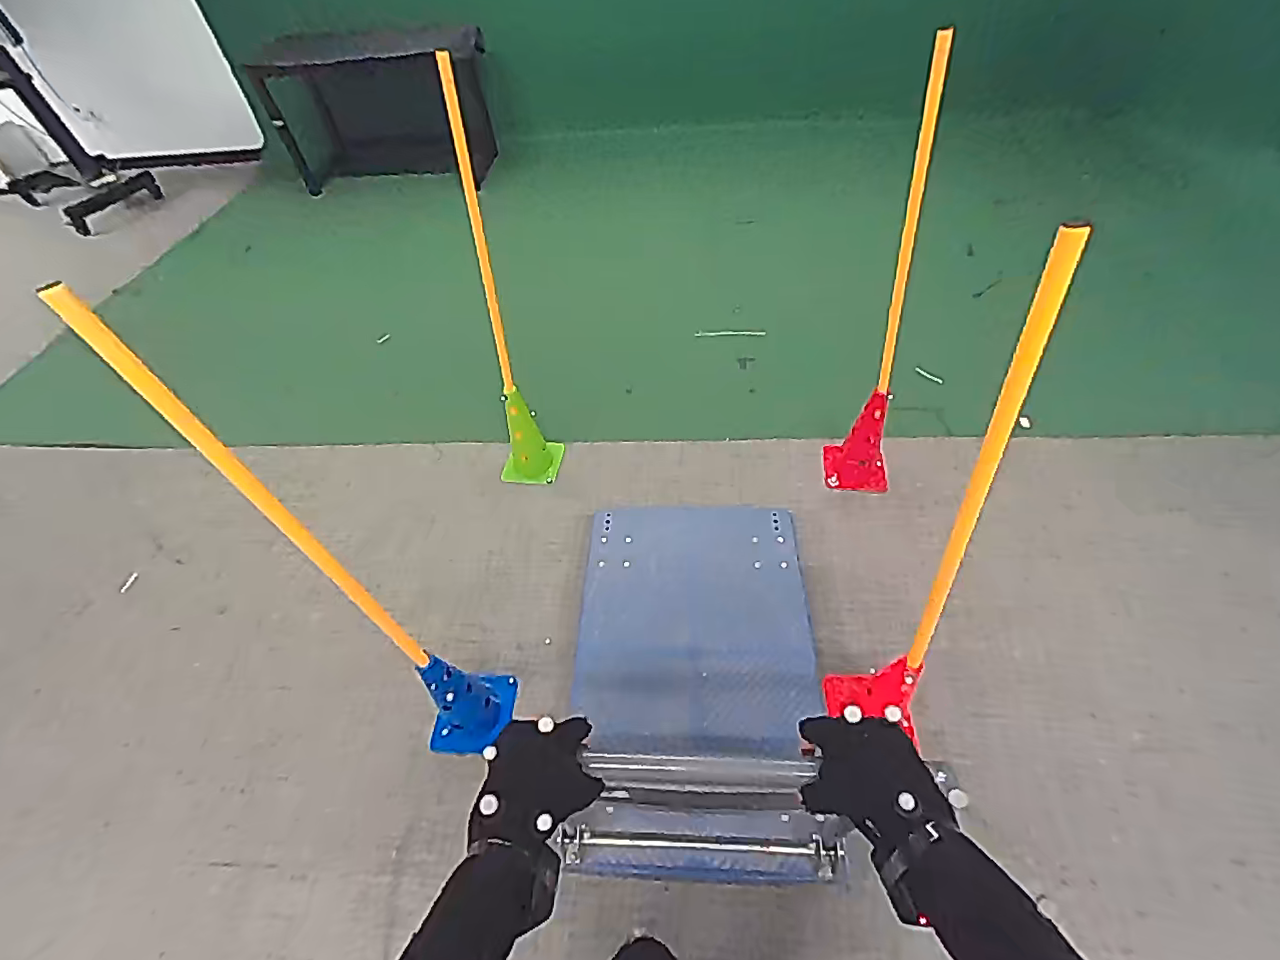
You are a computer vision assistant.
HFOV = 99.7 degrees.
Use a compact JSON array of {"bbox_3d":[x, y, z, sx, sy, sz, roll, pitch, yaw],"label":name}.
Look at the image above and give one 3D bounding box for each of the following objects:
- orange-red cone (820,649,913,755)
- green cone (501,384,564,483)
[{"bbox_3d":[0.554,0.478,1.238,0.199,0.360,0.198,-2,50,6],"label":"orange-red cone"},{"bbox_3d":[-0.406,-0.181,1.860,0.202,0.368,0.200,3,50,8],"label":"green cone"}]
